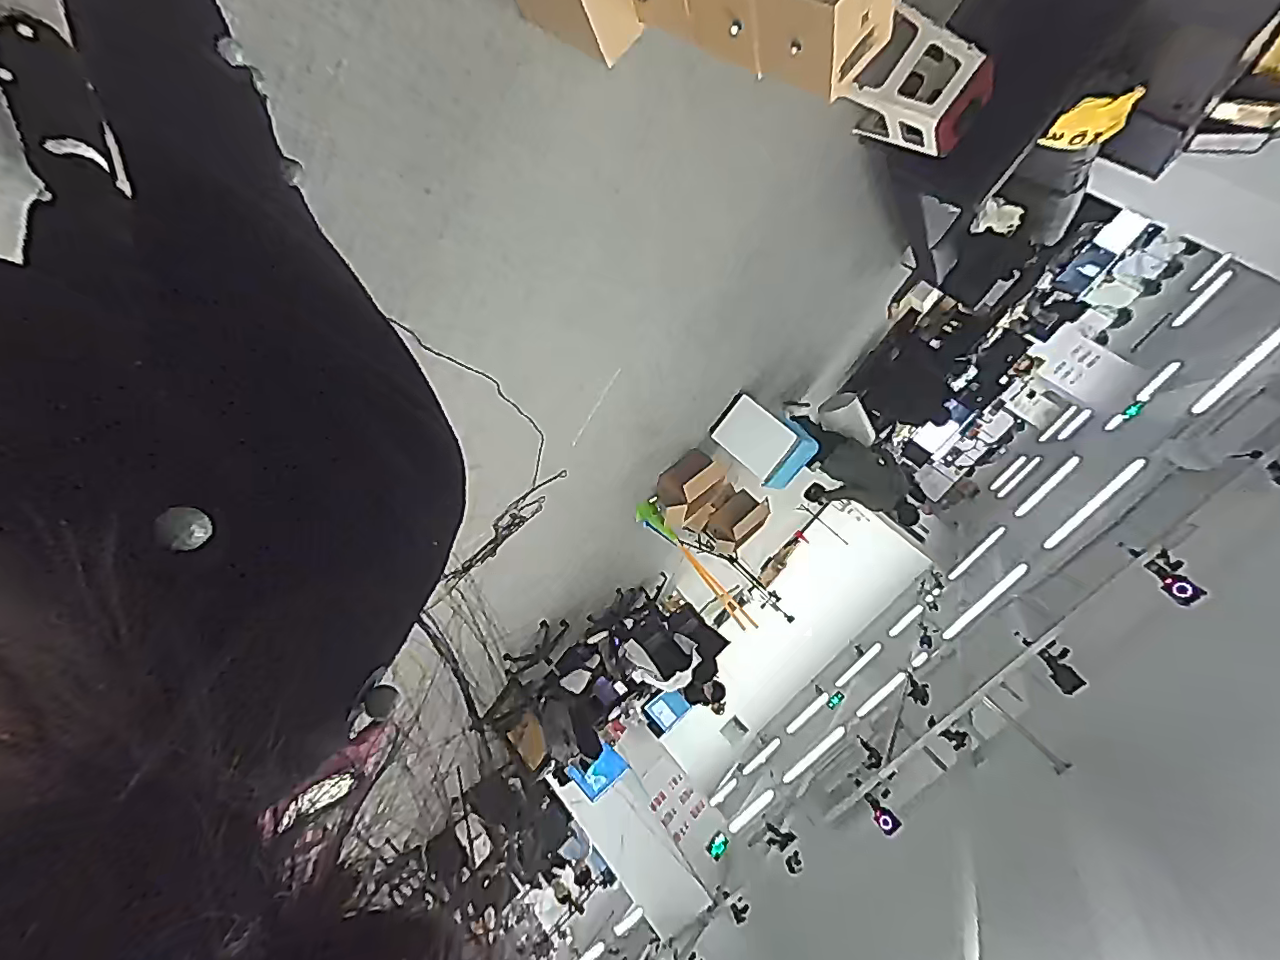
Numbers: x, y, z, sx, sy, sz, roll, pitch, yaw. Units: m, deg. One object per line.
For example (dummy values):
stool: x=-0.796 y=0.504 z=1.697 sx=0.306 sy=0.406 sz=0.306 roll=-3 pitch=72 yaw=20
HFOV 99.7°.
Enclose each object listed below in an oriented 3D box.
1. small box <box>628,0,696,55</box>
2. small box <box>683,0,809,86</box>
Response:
small box: x=0.082 y=-1.008 z=1.067 sx=0.179 sy=0.176 sz=0.168 roll=-49 pitch=158 yaw=2
small box: x=0.197 y=-0.906 z=1.016 sx=0.168 sy=0.176 sz=0.179 roll=-49 pitch=158 yaw=0
